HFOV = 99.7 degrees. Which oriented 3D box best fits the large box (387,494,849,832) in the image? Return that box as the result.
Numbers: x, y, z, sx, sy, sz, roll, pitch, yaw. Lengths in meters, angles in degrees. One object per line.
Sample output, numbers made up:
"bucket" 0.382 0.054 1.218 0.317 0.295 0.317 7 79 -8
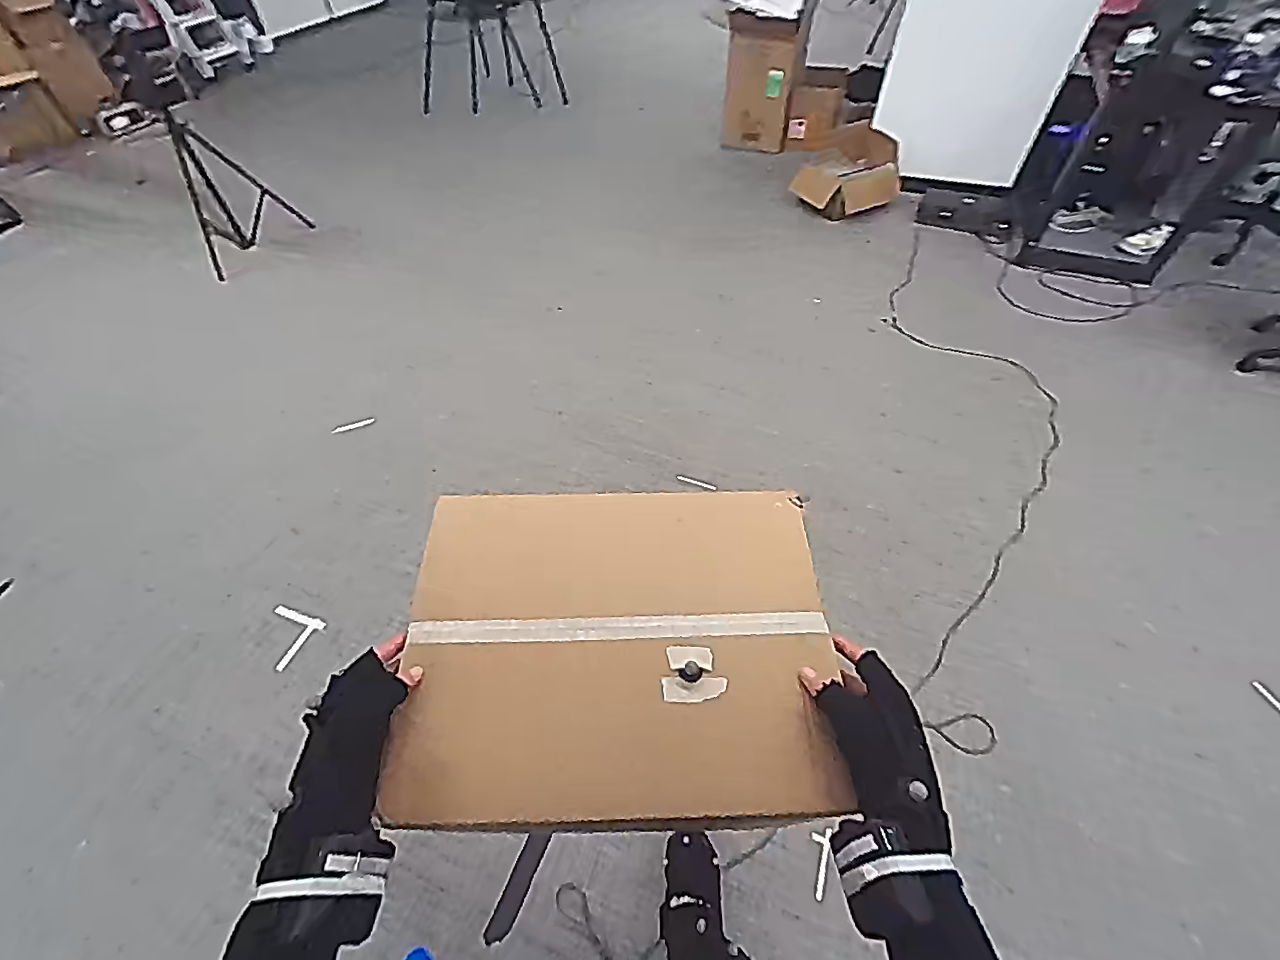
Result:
"large box" -0.025 0.232 0.663 0.408 0.320 0.320 -1 56 -1
